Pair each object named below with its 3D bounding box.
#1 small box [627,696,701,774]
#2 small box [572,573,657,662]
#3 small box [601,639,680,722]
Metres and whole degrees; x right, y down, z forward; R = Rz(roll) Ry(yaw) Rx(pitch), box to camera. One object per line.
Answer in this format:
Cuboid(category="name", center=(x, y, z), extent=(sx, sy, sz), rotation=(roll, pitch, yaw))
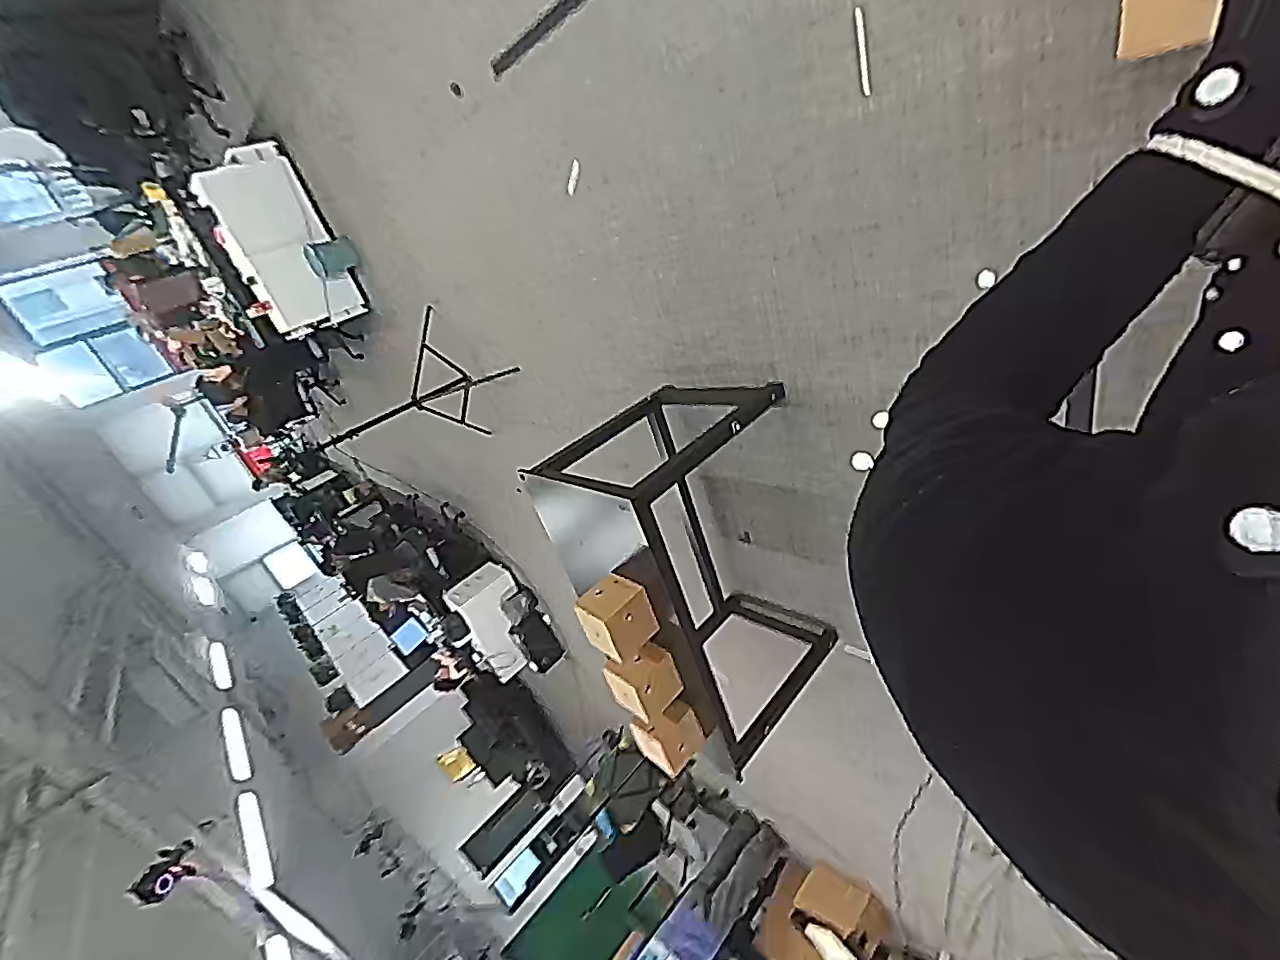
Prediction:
Cuboid(category="small box", center=(0.089, 0.879, 1.904), extent=(0.168, 0.176, 0.179), rotation=(10, 128, 49))
Cuboid(category="small box", center=(-0.075, 0.414, 1.666), extent=(0.168, 0.176, 0.179), rotation=(14, 133, 49))
Cuboid(category="small box", center=(0.005, 0.647, 1.786), extent=(0.168, 0.176, 0.179), rotation=(14, 132, 48))
